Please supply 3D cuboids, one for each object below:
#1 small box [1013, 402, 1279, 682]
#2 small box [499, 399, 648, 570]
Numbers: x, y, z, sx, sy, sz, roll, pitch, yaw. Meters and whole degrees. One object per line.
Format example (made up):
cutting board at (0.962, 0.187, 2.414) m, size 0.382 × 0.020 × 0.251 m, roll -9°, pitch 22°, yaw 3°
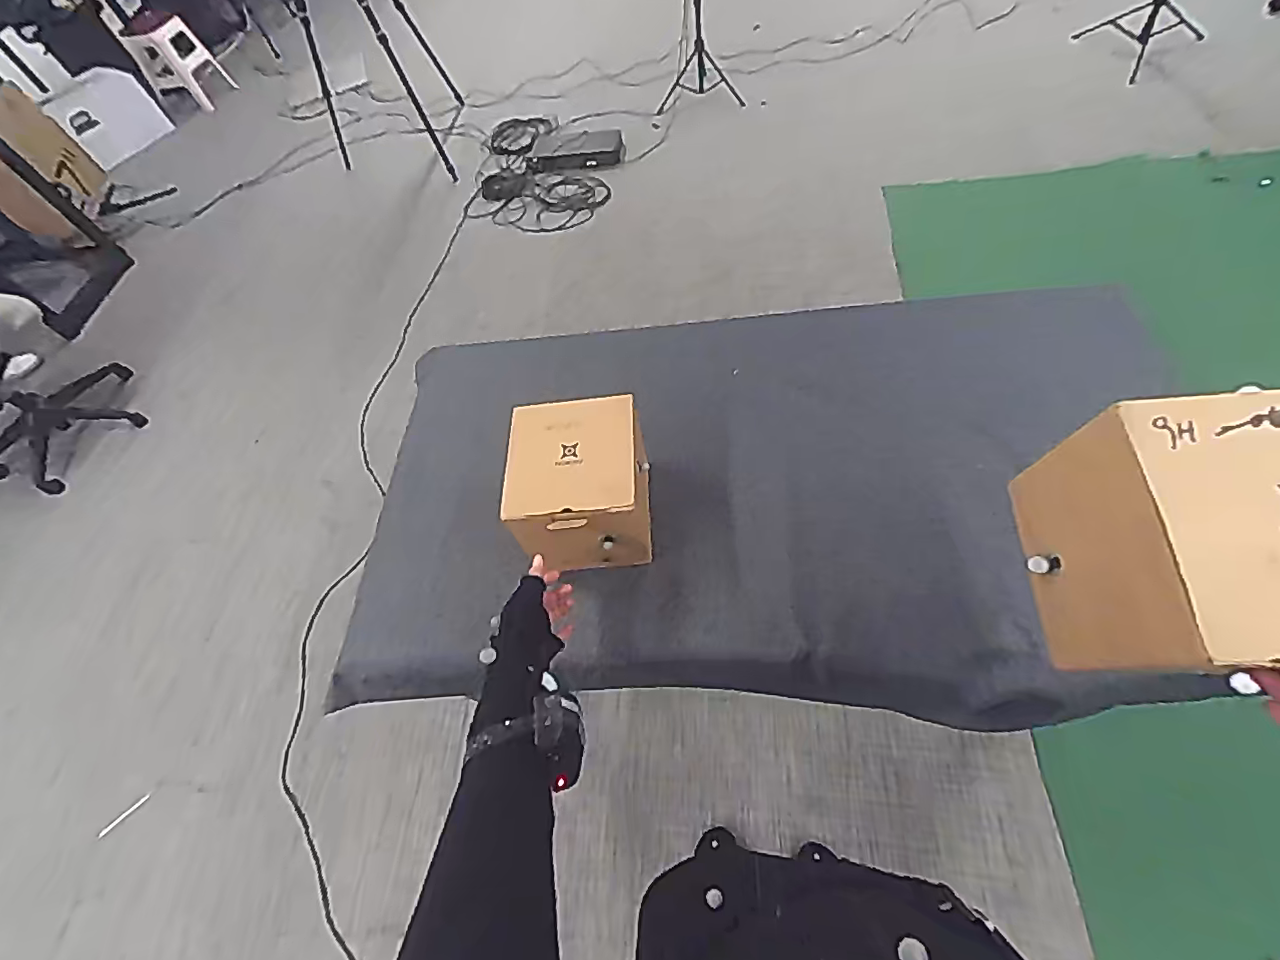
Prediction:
small box at (0.423, 0.057, 0.406) m, size 0.168 × 0.176 × 0.179 m, roll -3°, pitch 69°, yaw 8°
small box at (-0.080, 0.015, 0.746) m, size 0.168 × 0.176 × 0.179 m, roll -5°, pitch 56°, yaw 4°
